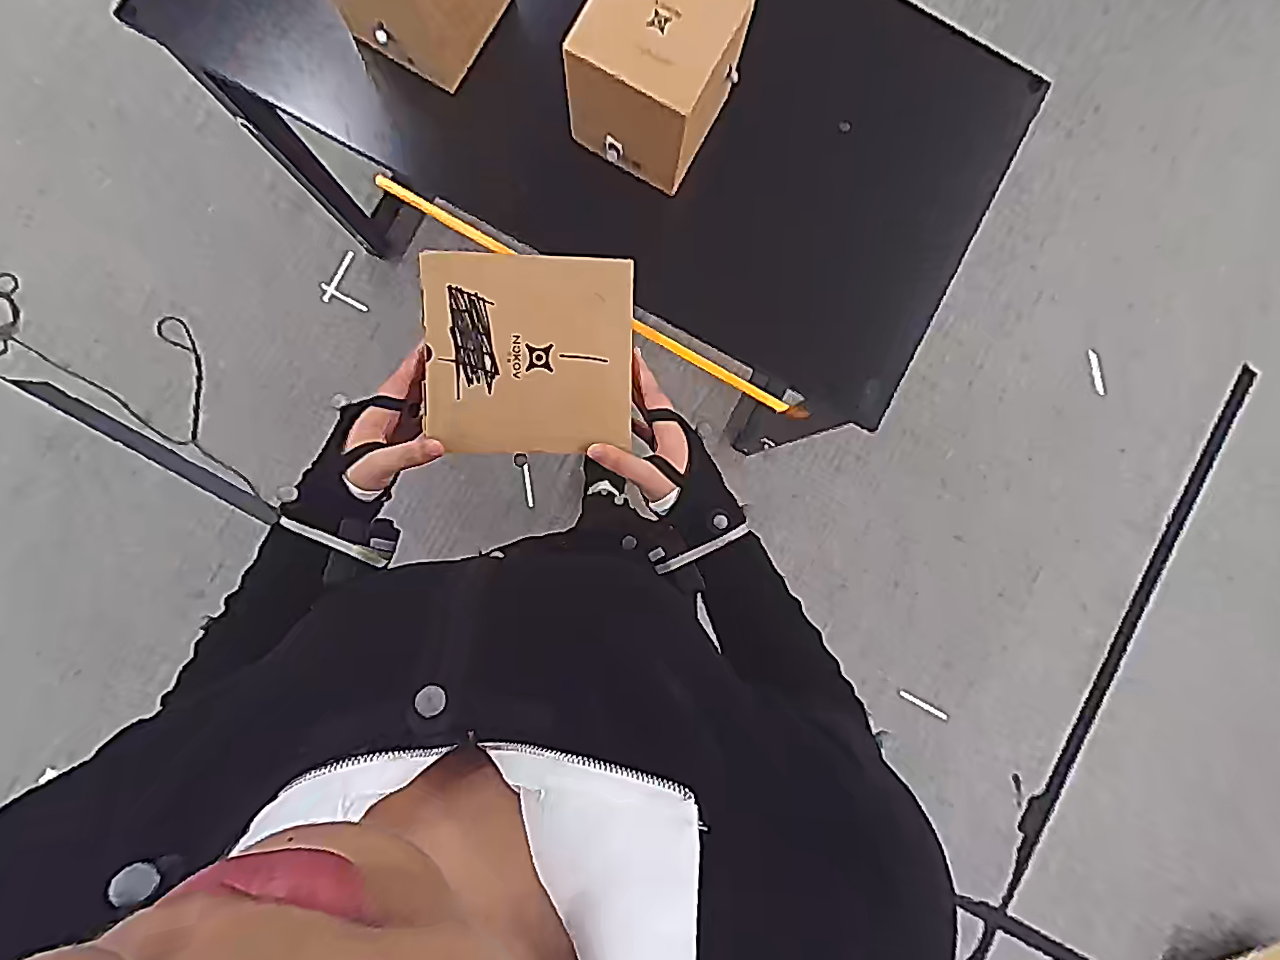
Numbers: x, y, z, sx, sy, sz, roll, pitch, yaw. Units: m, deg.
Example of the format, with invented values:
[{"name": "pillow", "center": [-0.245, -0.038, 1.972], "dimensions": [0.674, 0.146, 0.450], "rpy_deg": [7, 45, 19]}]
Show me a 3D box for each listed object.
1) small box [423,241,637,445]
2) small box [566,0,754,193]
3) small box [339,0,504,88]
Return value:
[{"name": "small box", "center": [-0.098, -0.120, 0.531], "dimensions": [0.179, 0.176, 0.168], "rpy_deg": [0, 96, -6]}, {"name": "small box", "center": [0.020, -0.523, 0.701], "dimensions": [0.168, 0.176, 0.179], "rpy_deg": [27, 88, -1]}, {"name": "small box", "center": [-0.287, -0.662, 0.683], "dimensions": [0.168, 0.176, 0.179], "rpy_deg": [30, 87, -2]}]
